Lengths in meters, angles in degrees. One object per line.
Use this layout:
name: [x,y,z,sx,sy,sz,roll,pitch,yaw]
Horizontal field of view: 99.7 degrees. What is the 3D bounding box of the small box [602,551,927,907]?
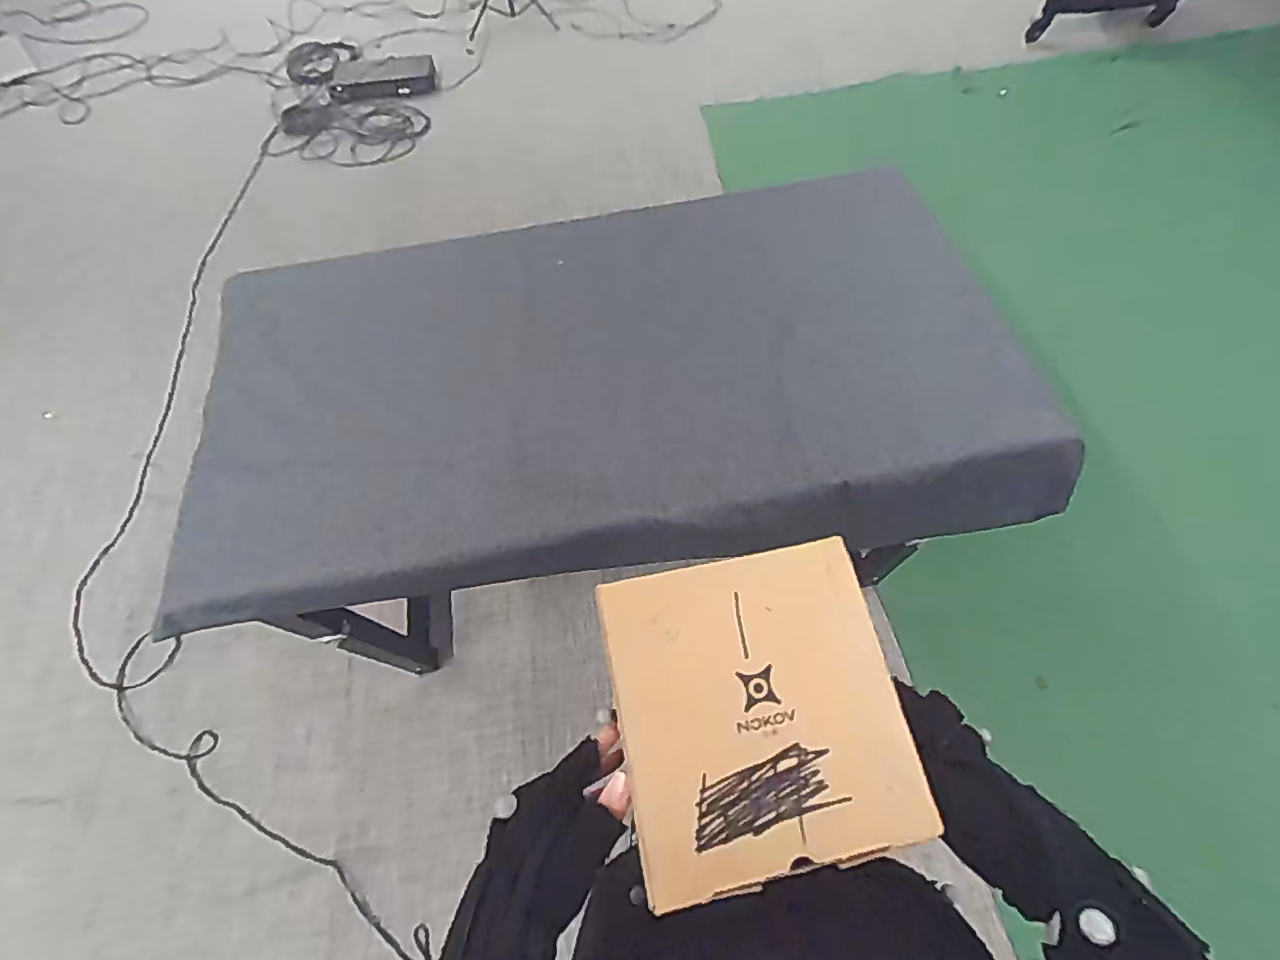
small box: [0.066,0.166,0.401,0.168,0.176,0.179,-8,70,-7]
